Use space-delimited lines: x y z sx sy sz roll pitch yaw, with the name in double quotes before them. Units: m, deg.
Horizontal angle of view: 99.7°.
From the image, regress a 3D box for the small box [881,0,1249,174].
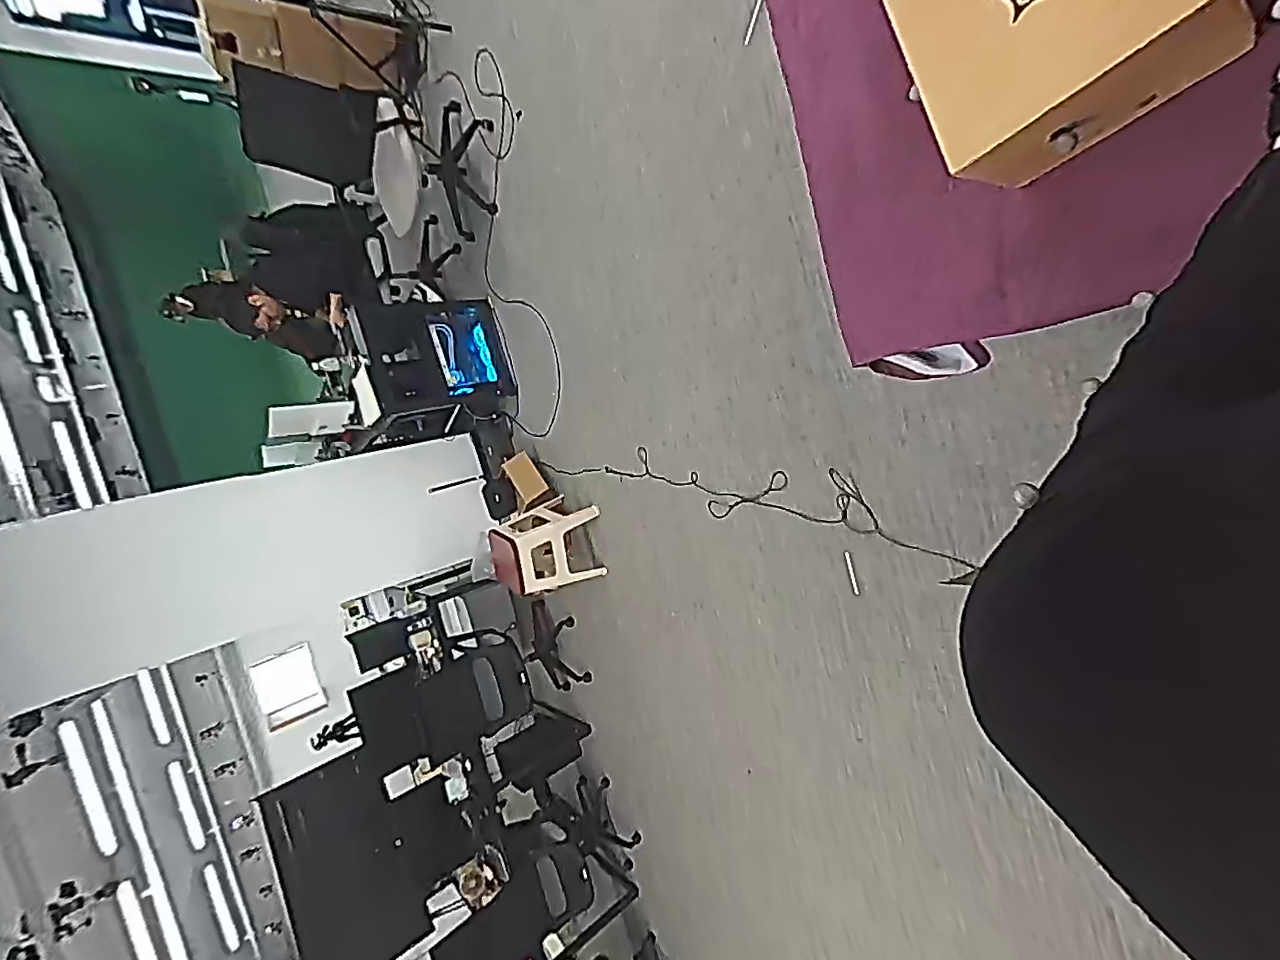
"small box" 0.333 -0.374 0.431 0.168 0.176 0.179 -23 85 54
